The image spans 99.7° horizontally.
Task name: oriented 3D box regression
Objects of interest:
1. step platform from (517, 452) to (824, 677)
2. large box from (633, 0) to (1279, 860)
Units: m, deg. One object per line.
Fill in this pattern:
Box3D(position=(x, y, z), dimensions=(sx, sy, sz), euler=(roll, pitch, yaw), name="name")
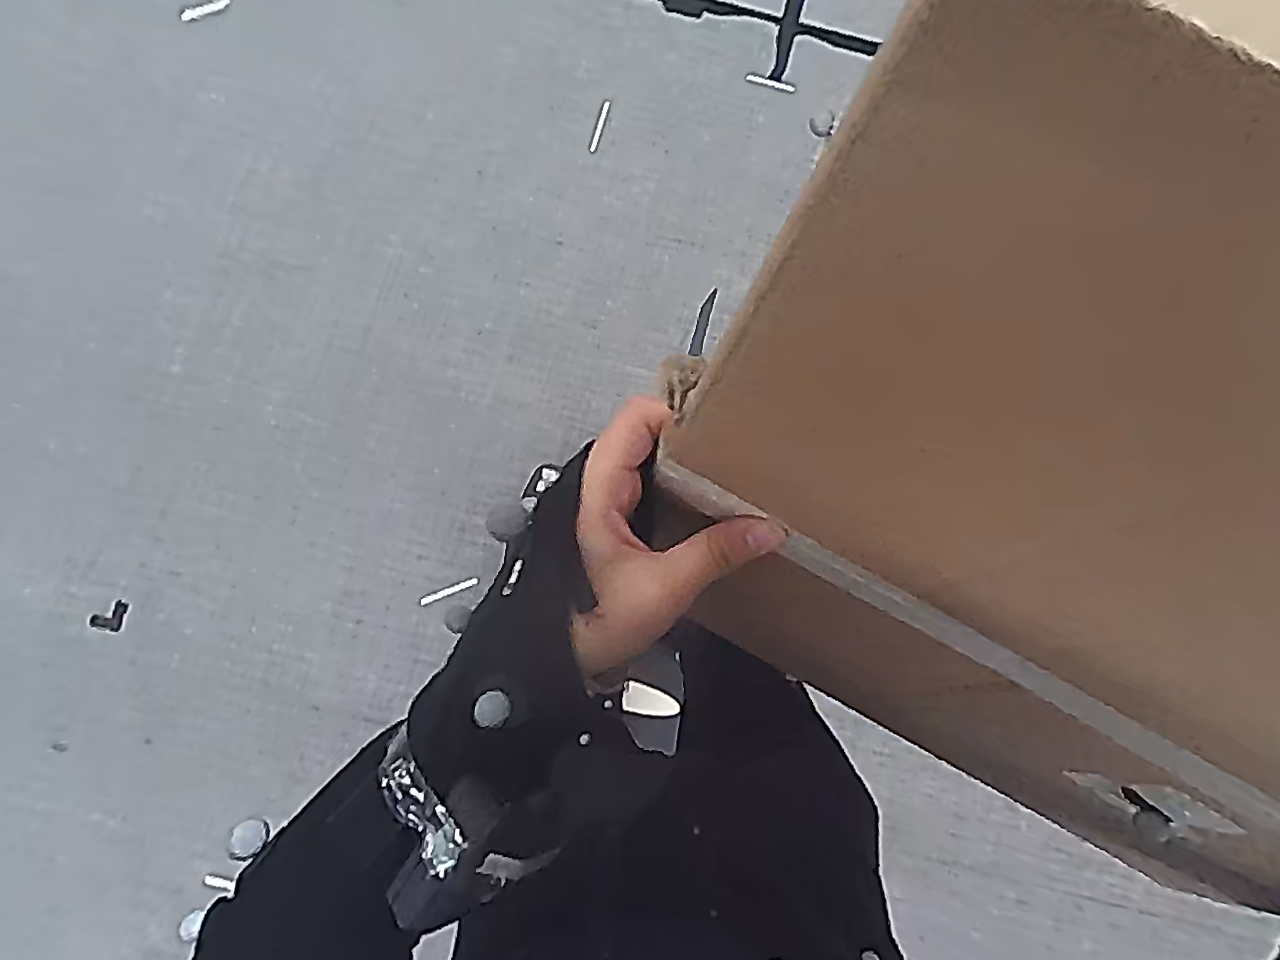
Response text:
Box3D(position=(0.081, 0.181, 1.200), dimensions=(0.684, 0.204, 0.286), euler=(21, 82, -1), name="step platform")
Box3D(position=(0.260, -0.057, 0.262), dimensions=(0.408, 0.320, 0.320), euler=(28, 63, 0), name="large box")
